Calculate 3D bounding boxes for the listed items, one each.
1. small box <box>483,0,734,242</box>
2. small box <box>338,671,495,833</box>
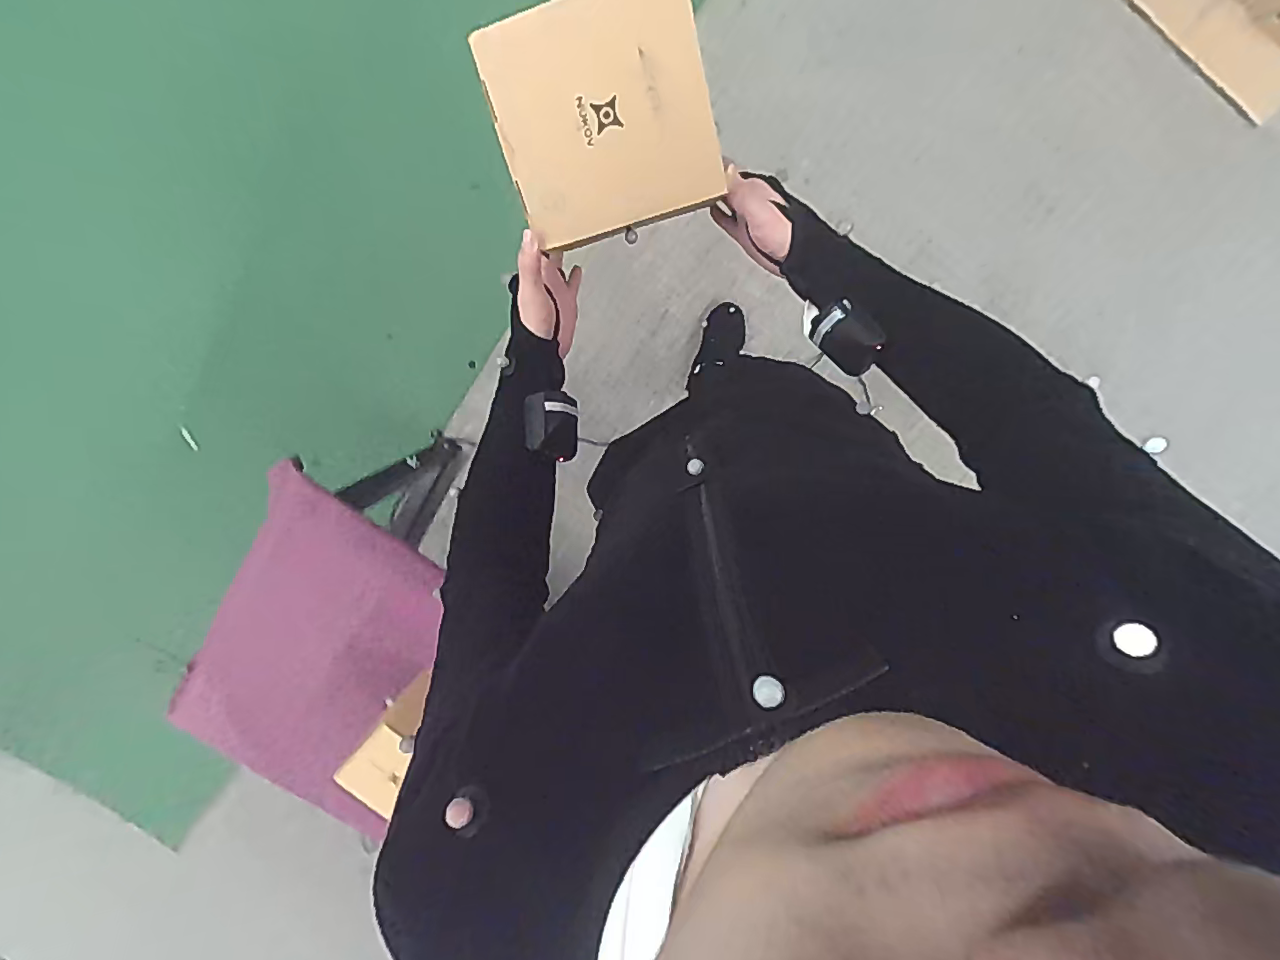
[{"bbox_3d":[-0.017,-0.332,0.511,0.179,0.176,0.168,-12,114,9],"label":"small box"},{"bbox_3d":[-0.402,0.496,1.007,0.179,0.176,0.168,42,105,-7],"label":"small box"}]
